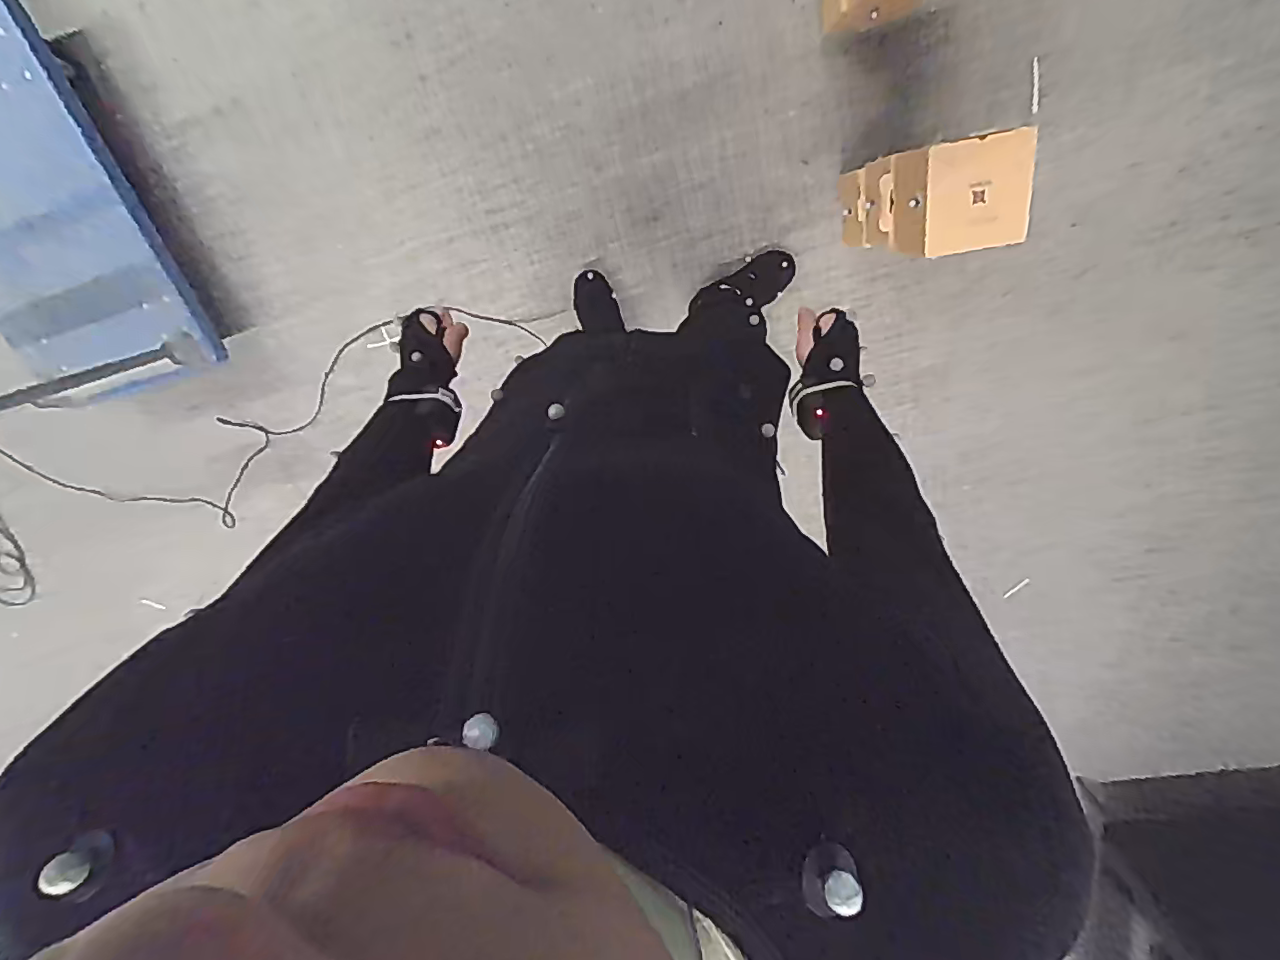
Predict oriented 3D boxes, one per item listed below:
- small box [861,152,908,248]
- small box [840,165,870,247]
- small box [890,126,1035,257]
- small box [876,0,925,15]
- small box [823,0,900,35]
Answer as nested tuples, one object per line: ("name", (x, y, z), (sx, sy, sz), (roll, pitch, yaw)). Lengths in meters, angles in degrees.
("small box", (0.574, -0.583, 1.115), (0.179, 0.176, 0.168), (-6, 114, 7))
("small box", (0.576, -0.651, 1.265), (0.179, 0.176, 0.168), (-10, 114, 10))
("small box", (0.563, -0.507, 0.970), (0.168, 0.176, 0.179), (-6, 115, 8))
("small box", (0.479, -0.978, 0.948), (0.168, 0.176, 0.179), (22, 114, -4))
("small box", (0.472, -1.038, 1.091), (0.179, 0.176, 0.168), (-8, 115, 7))
